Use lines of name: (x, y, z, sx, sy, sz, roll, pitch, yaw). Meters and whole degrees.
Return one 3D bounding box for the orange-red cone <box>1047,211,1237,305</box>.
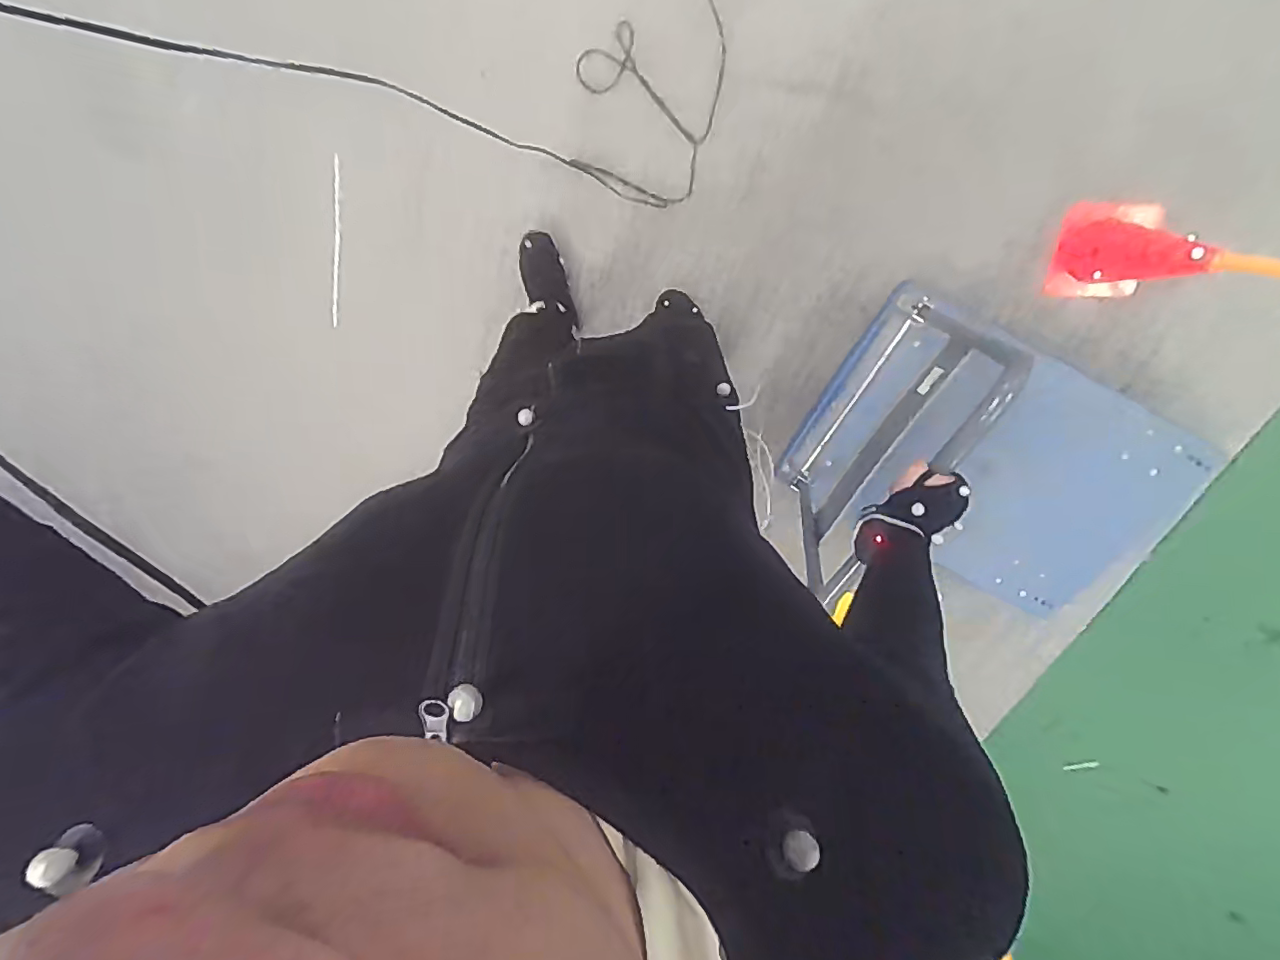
orange-red cone: (1.058, -0.451, 1.112, 0.198, 0.360, 0.199, 6, 114, 7)
